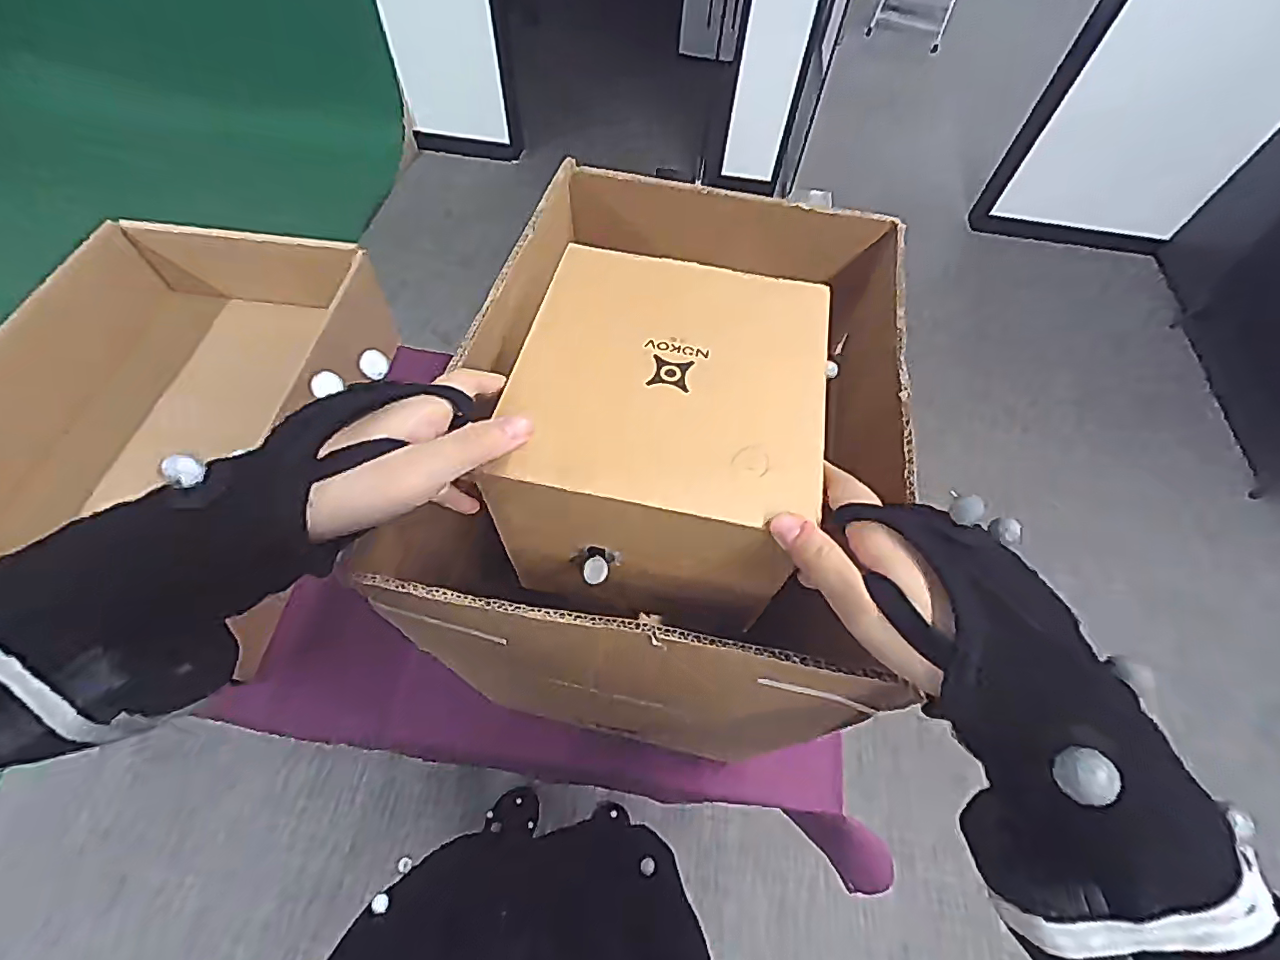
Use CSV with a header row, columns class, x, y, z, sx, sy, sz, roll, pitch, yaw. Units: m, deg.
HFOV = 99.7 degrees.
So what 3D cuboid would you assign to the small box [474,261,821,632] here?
class,x,y,z,sx,sy,sz,roll,pitch,yaw
small box,0.013,-0.013,0.366,0.168,0.176,0.179,11,59,5
